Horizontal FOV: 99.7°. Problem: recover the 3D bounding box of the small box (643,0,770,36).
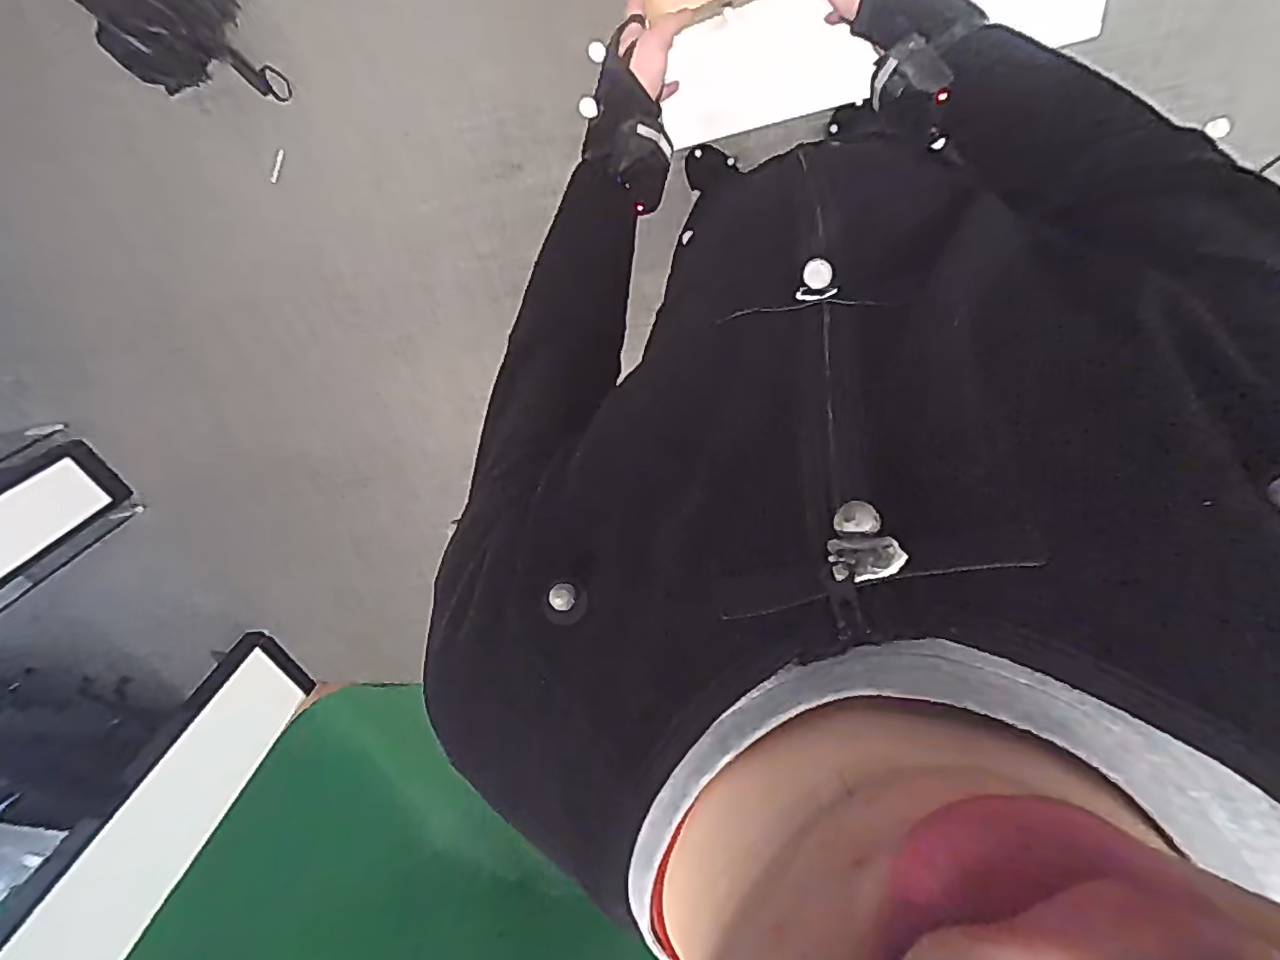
[{"bbox_3d":[0.081,-0.581,0.546,0.179,0.176,0.168,-8,124,18],"label":"small box"}]
